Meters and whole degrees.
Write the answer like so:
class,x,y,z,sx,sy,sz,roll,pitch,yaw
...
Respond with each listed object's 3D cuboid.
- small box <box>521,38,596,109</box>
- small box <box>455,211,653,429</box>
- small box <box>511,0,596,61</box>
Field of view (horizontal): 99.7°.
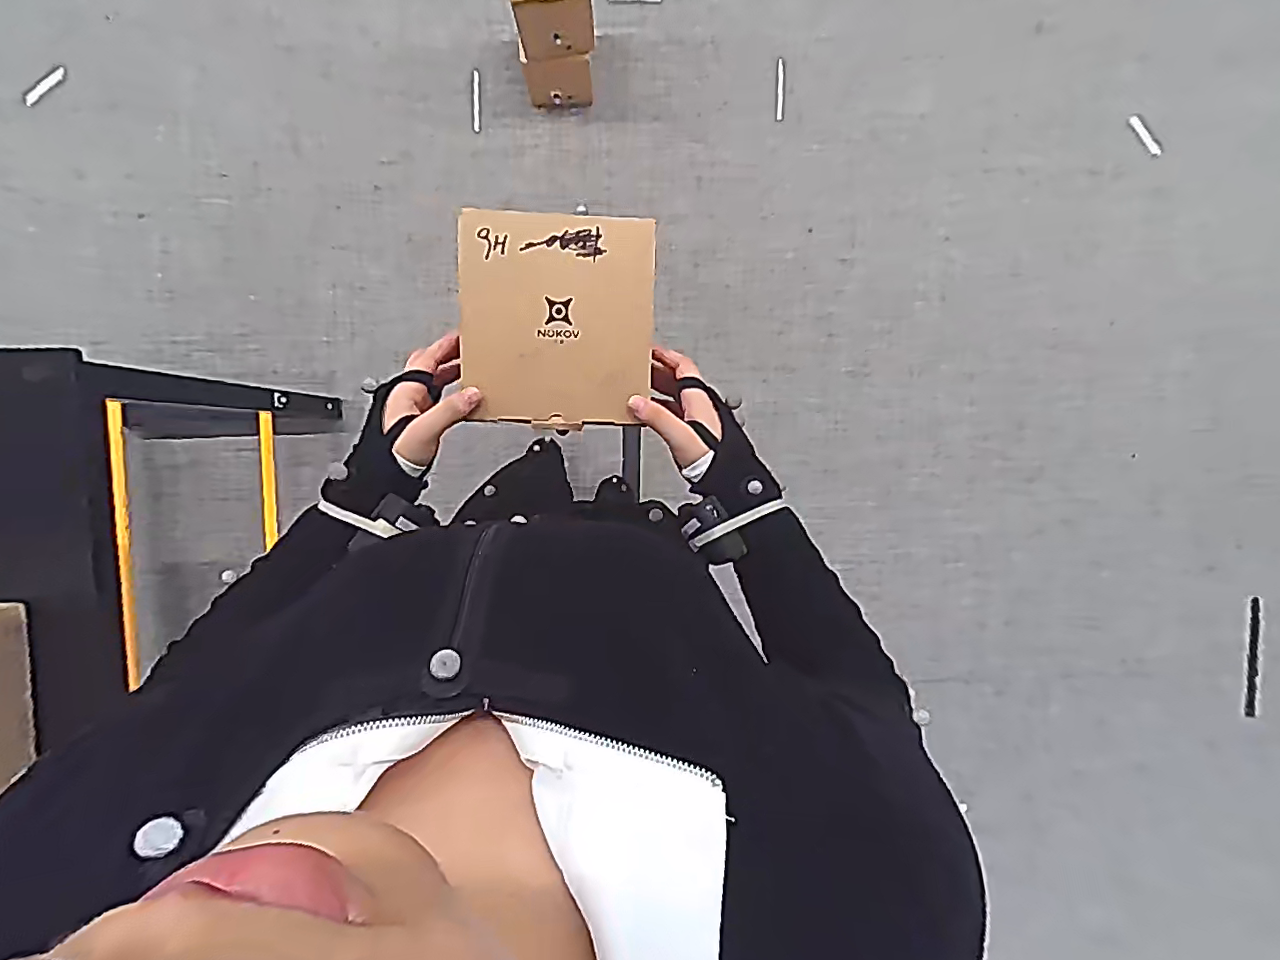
class,x,y,z,sx,sy,sz,roll,pitch,yaw
small box,-0.199,-1.057,1.332,0.168,0.176,0.179,-4,95,-1
small box,-0.076,-0.148,0.539,0.168,0.176,0.179,1,100,-4
small box,-0.192,-1.059,1.167,0.168,0.176,0.179,-8,94,0
